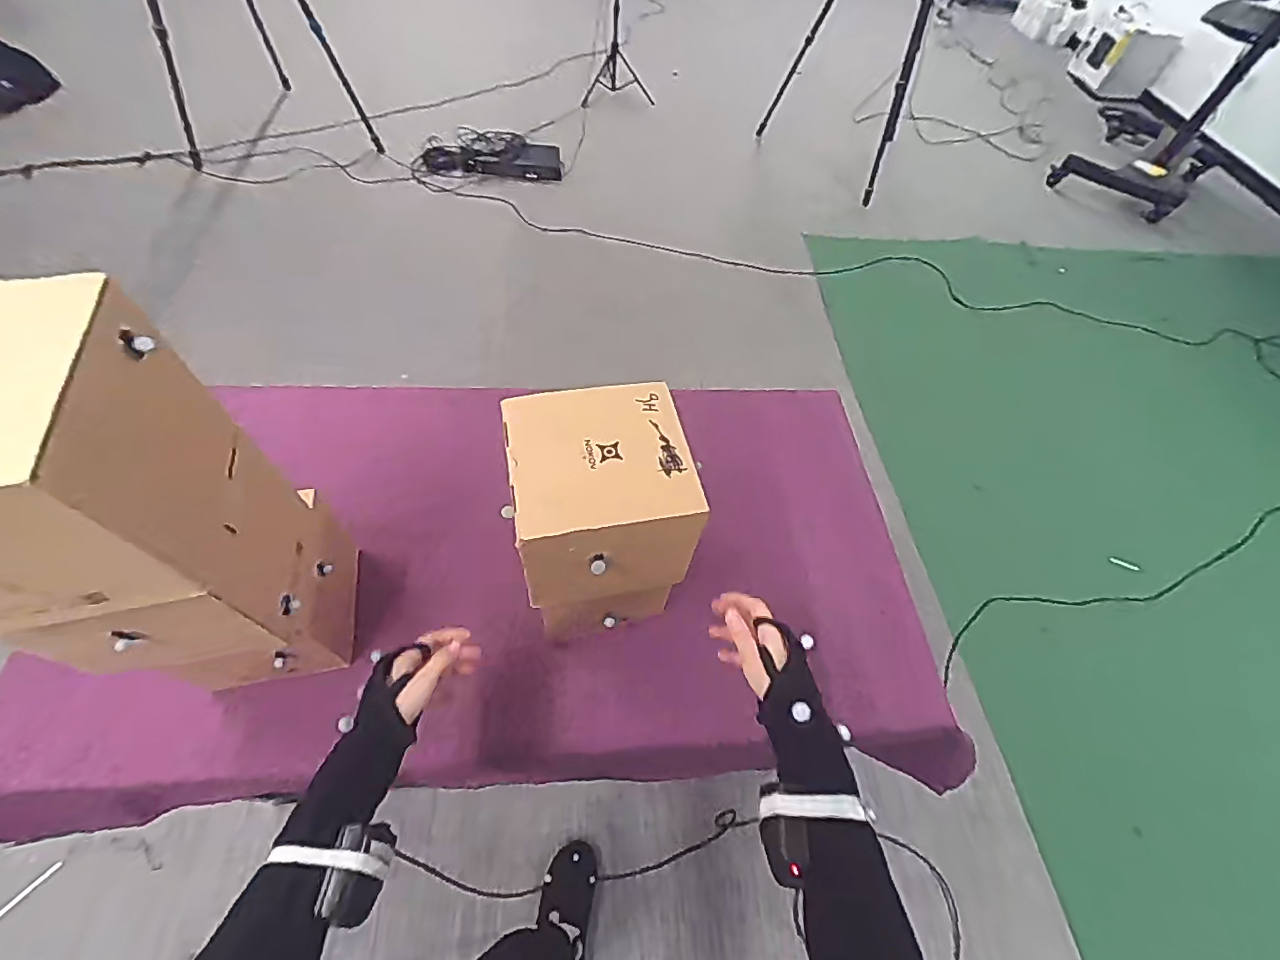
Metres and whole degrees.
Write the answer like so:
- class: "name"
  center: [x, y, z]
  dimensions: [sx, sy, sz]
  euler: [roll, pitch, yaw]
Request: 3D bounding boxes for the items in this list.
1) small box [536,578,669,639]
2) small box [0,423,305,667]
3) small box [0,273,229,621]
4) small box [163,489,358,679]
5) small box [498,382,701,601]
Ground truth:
- class: "small box"
  center: [-0.068, 0.092, 0.732]
  dimensions: [0.168, 0.176, 0.179]
  euler: [-12, 59, -13]
- class: "small box"
  center: [-0.451, 0.066, 0.516]
  dimensions: [0.179, 0.176, 0.168]
  euler: [-6, 58, -10]
- class: "small box"
  center: [-0.426, -0.013, 0.376]
  dimensions: [0.168, 0.176, 0.179]
  euler: [-10, 58, -13]
- class: "small box"
  center: [-0.466, 0.134, 0.666]
  dimensions: [0.168, 0.176, 0.179]
  euler: [-6, 57, -10]
- class: "small box"
  center: [-0.048, 0.018, 0.584]
  dimensions: [0.179, 0.176, 0.168]
  euler: [-7, 58, -10]
